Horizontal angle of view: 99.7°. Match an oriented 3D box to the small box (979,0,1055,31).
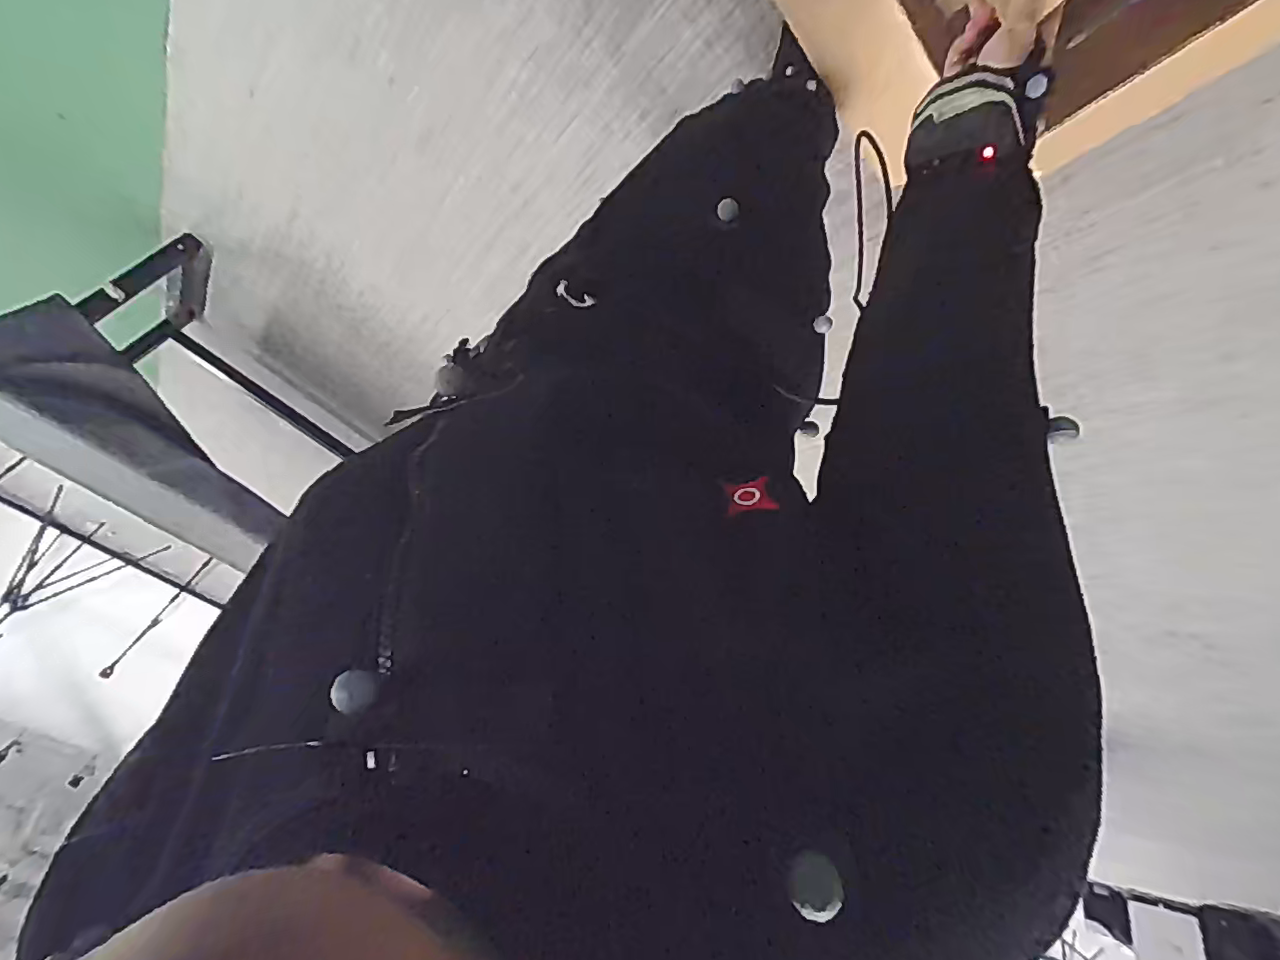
[{"bbox_3d":[0.304,-0.473,0.382,0.168,0.176,0.179,41,135,-16],"label":"small box"}]
